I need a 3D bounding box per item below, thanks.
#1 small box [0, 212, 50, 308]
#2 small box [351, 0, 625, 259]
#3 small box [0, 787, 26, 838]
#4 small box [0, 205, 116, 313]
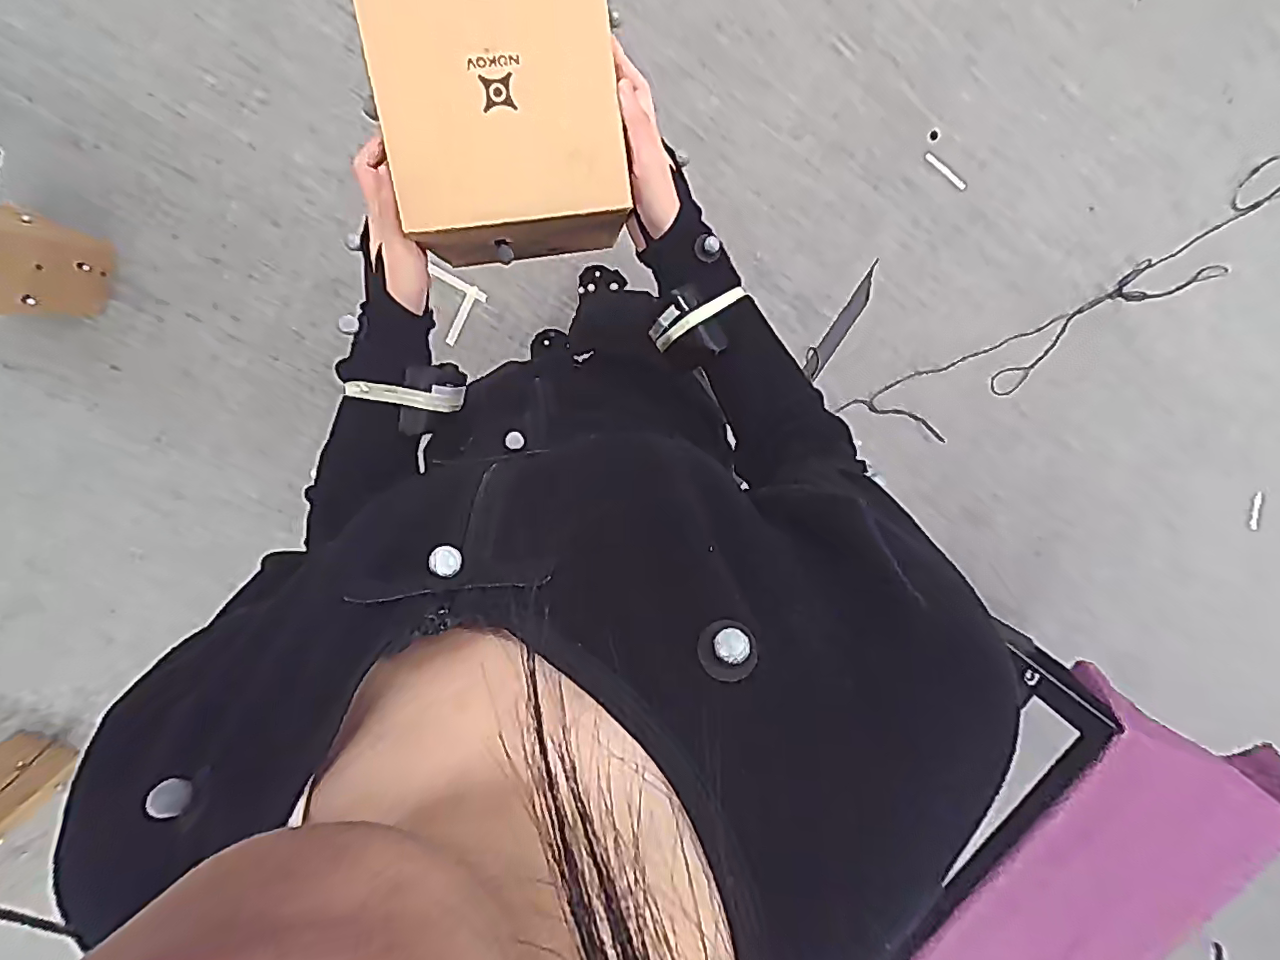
[{"bbox_3d":[-1.273,-0.430,1.000,0.179,0.176,0.168,26,102,-13],"label":"small box"},{"bbox_3d":[-0.108,-0.289,0.443,0.168,0.176,0.179,-9,103,-5],"label":"small box"},{"bbox_3d":[-1.721,0.874,1.341,0.179,0.176,0.168,33,101,-16],"label":"small box"},{"bbox_3d":[-1.294,-0.474,1.157,0.179,0.176,0.168,25,102,-12],"label":"small box"}]
